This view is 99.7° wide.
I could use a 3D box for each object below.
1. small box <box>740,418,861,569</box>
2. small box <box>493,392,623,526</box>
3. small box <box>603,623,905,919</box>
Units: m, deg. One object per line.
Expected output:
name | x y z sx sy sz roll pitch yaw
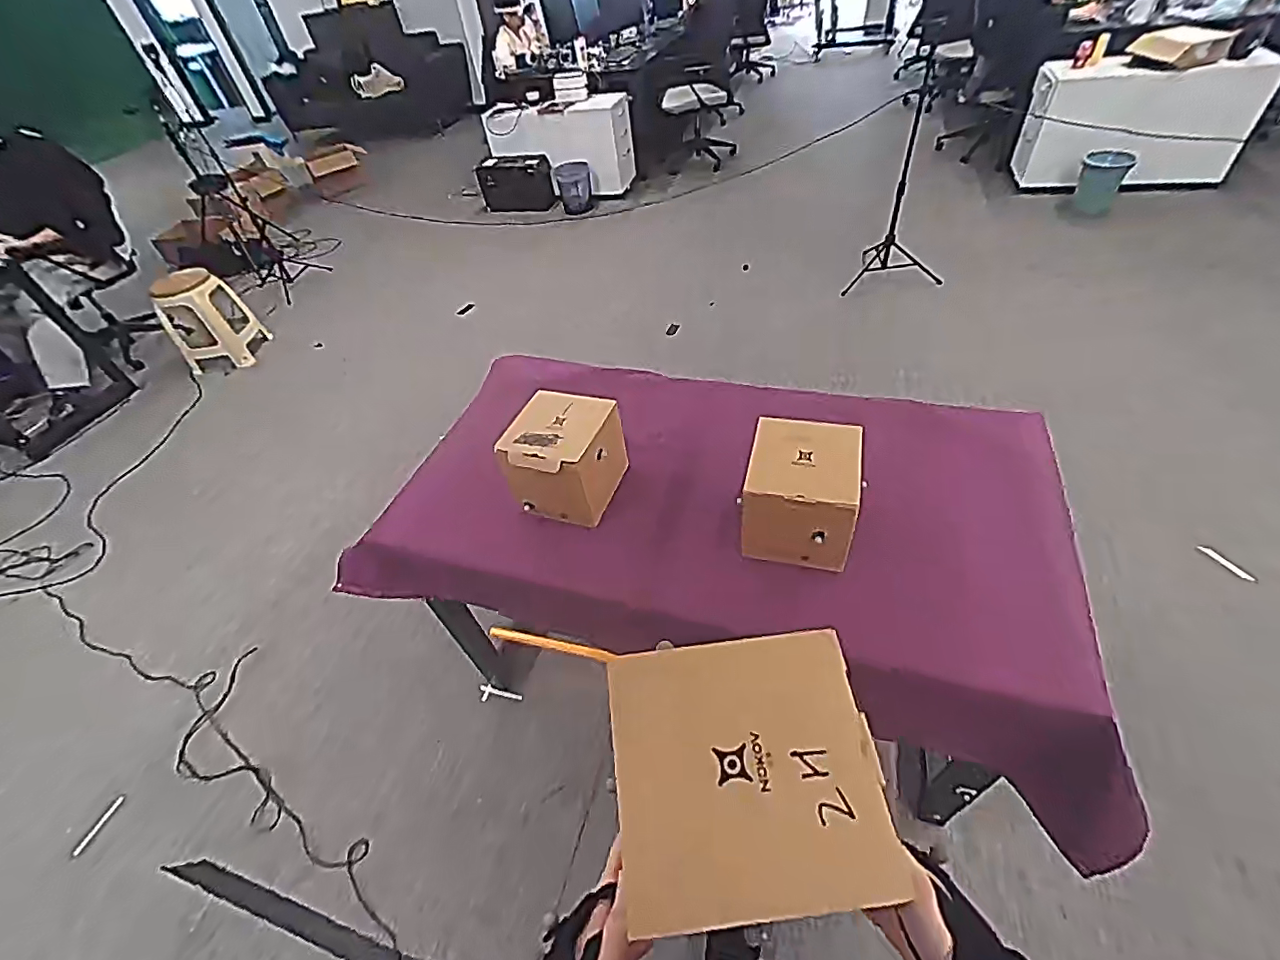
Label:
small box | 0.261 0.024 0.891 0.168 0.176 0.179 8 48 16
small box | -0.140 -0.039 1.014 0.168 0.176 0.179 11 49 18
small box | 0.071 0.229 0.431 0.179 0.176 0.168 -7 57 -1
